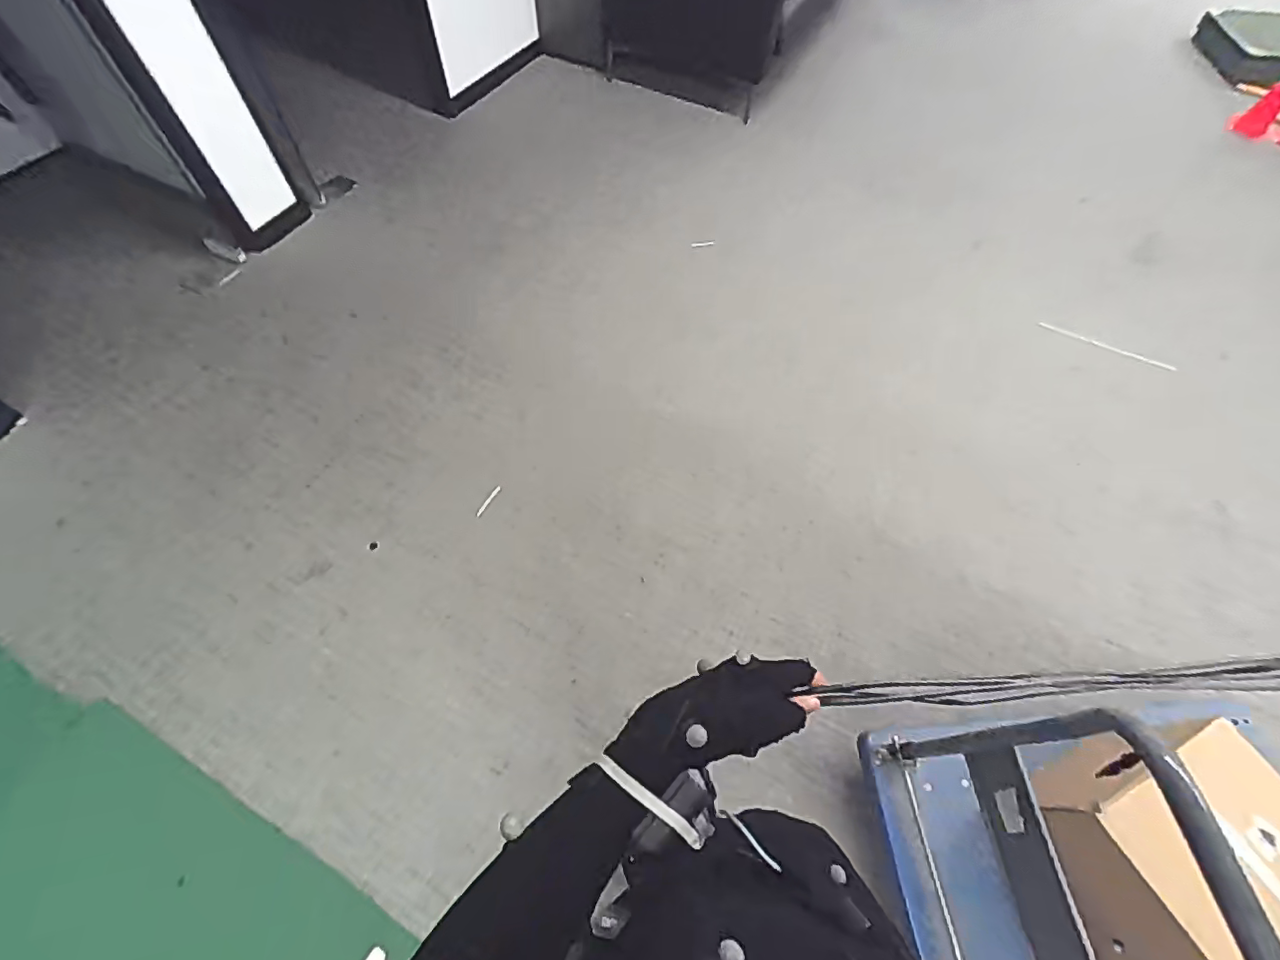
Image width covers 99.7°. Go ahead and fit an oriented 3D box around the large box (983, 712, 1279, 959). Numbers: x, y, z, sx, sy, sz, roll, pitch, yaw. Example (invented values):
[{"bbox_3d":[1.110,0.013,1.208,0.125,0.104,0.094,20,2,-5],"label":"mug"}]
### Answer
[{"bbox_3d":[0.912,0.674,0.912,0.320,0.320,0.408,-23,62,-14],"label":"large box"}]
